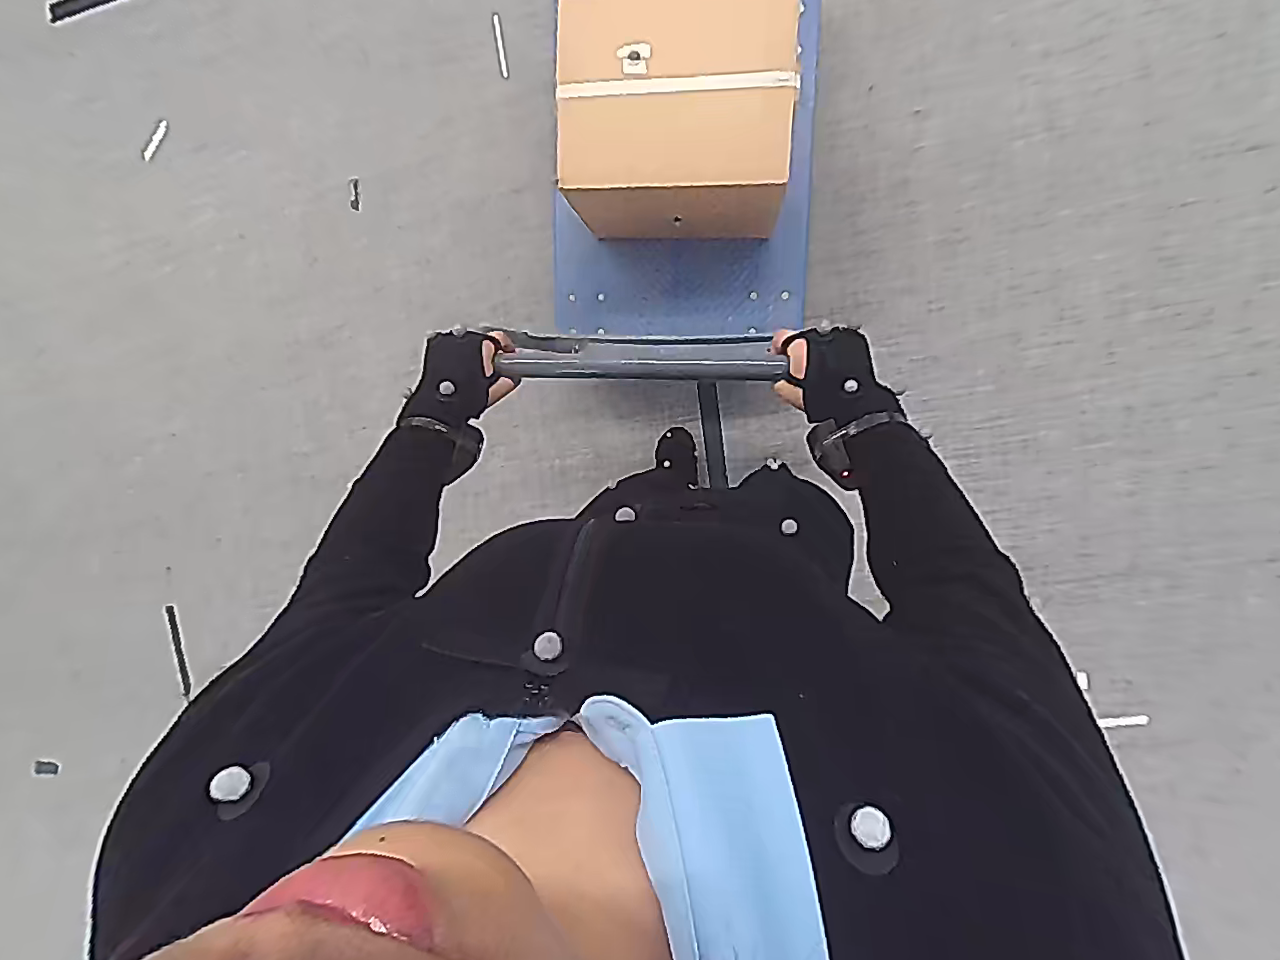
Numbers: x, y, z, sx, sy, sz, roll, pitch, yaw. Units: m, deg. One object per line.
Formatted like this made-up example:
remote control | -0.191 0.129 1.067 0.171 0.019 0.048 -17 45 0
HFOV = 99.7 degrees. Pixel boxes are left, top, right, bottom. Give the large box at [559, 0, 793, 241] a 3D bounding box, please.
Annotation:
large box | 0.078 -0.682 1.076 0.408 0.320 0.320 3 98 9
